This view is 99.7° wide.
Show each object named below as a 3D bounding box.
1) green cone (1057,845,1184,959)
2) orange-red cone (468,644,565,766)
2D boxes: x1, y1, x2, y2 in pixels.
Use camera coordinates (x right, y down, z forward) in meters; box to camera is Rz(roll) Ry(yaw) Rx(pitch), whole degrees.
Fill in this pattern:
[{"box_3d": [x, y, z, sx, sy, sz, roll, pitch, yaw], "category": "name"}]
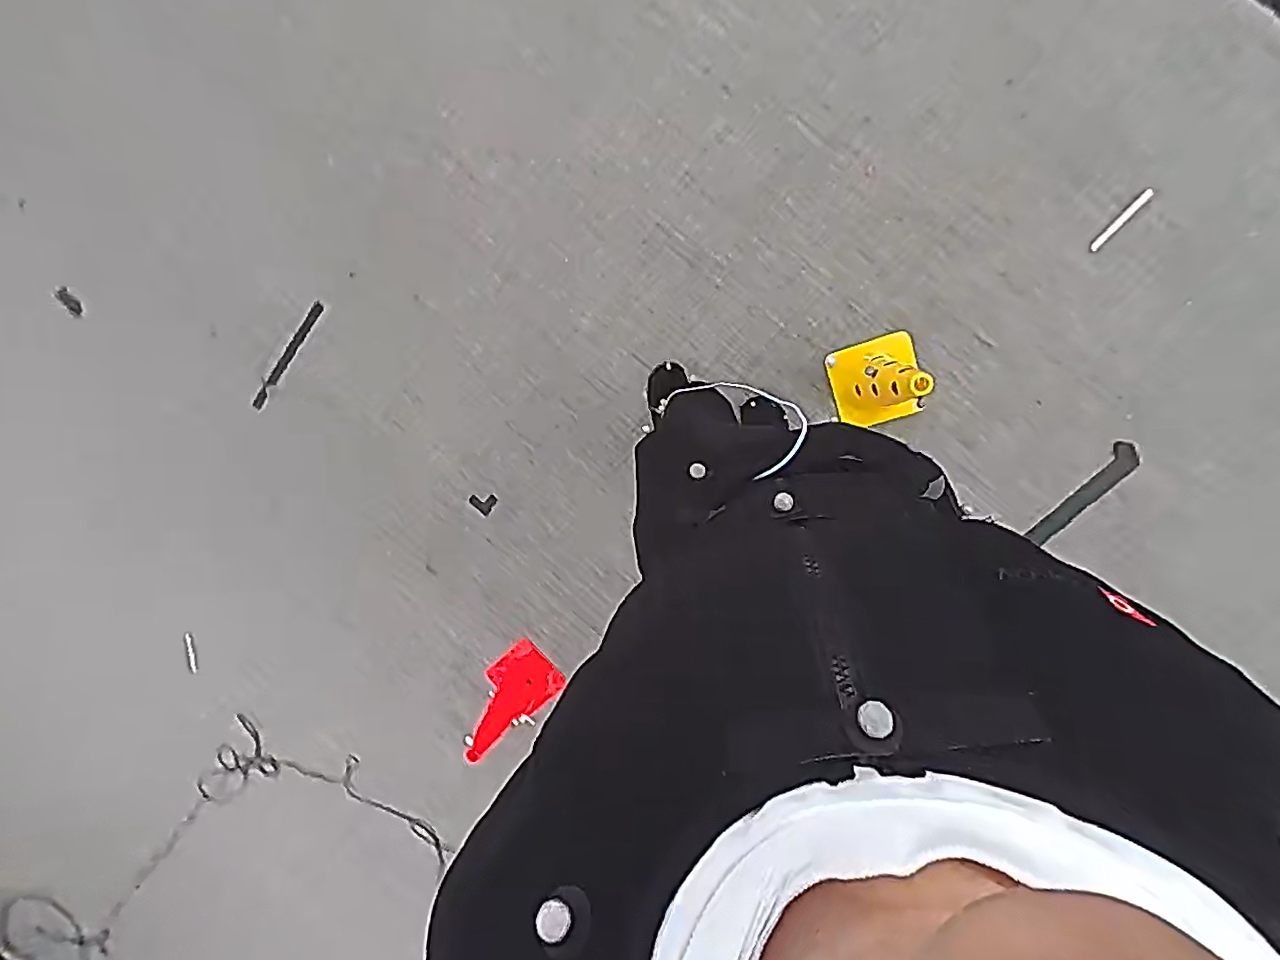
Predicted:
[{"box_3d": [1.232, 1.123, 1.291, 0.200, 0.368, 0.202, 25, 105, 5], "category": "green cone"}, {"box_3d": [-0.377, 0.648, 1.487, 0.199, 0.360, 0.198, -42, 92, 14], "category": "orange-red cone"}]
